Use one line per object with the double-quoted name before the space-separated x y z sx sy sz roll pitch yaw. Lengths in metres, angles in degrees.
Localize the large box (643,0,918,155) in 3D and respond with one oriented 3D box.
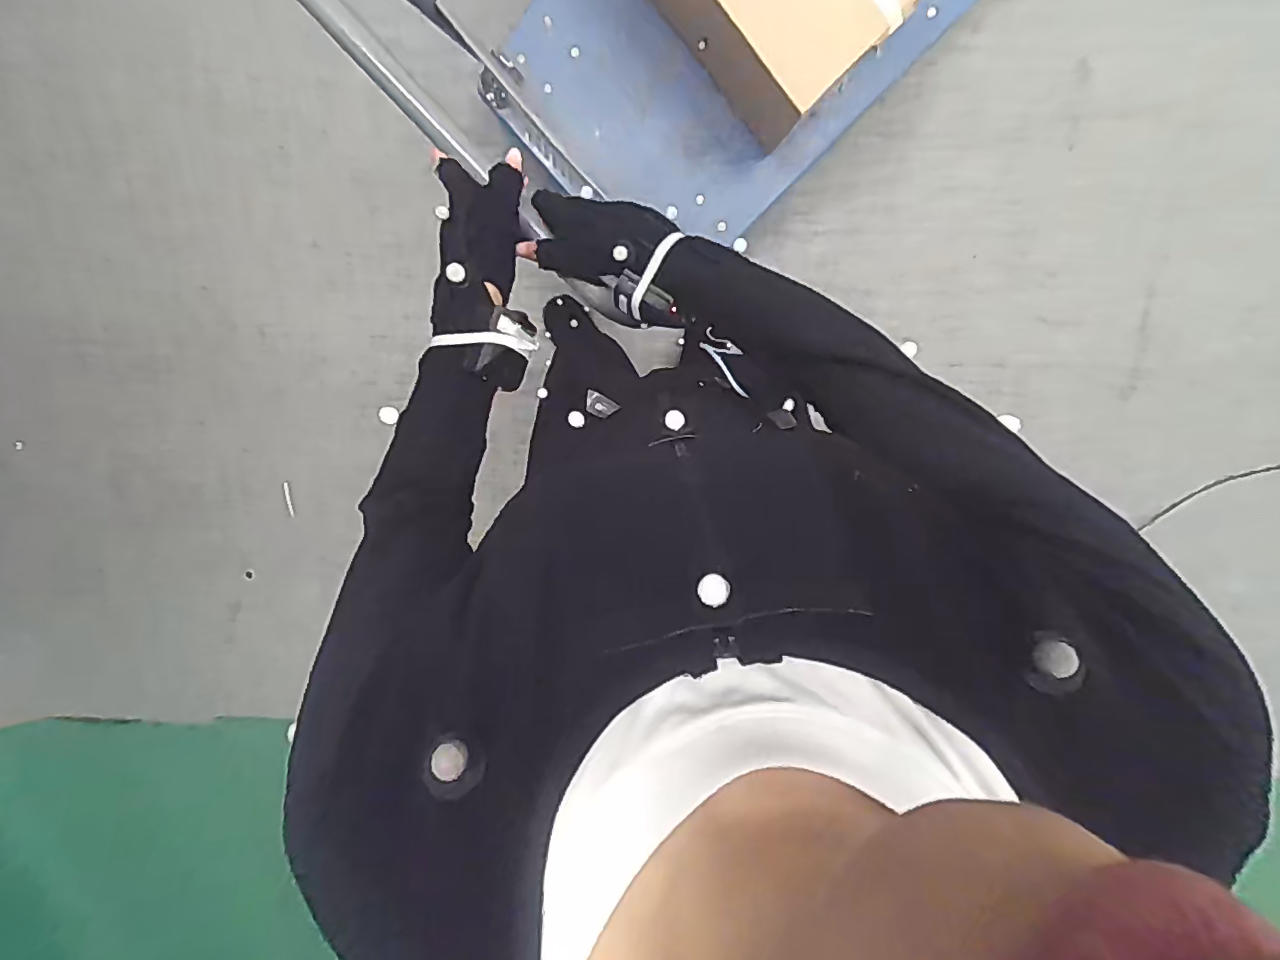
"large box" 0.215 -0.820 0.856 0.320 0.320 0.408 -41 102 16
